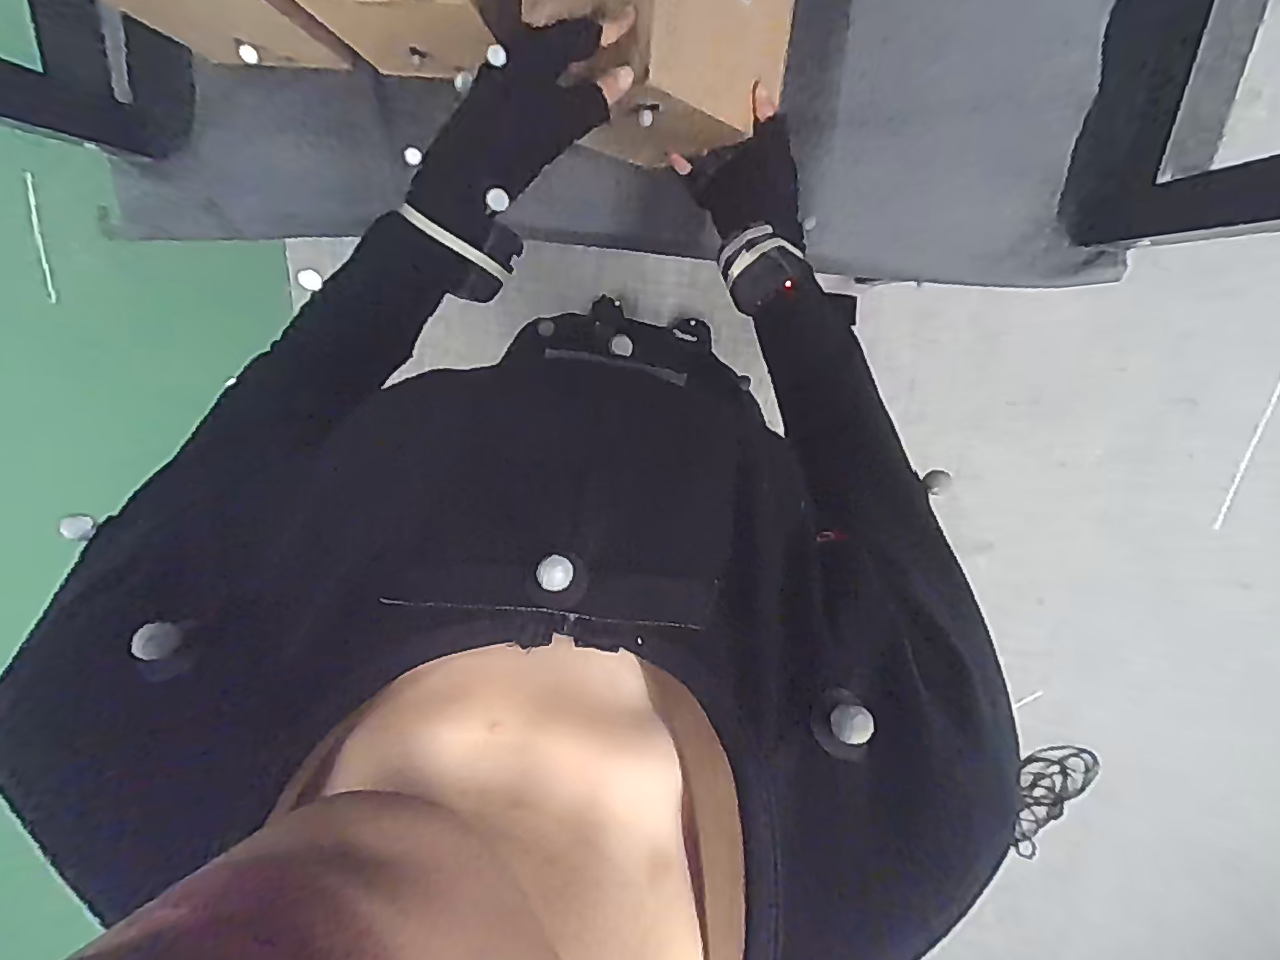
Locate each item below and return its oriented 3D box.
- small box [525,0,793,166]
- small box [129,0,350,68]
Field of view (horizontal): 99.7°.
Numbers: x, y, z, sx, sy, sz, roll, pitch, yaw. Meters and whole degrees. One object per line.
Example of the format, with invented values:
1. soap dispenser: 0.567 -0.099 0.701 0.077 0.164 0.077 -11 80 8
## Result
1. small box: 0.013 -0.396 0.462 0.168 0.176 0.179 19 113 41
2. small box: -0.402 -0.530 0.508 0.168 0.176 0.179 4 108 2
